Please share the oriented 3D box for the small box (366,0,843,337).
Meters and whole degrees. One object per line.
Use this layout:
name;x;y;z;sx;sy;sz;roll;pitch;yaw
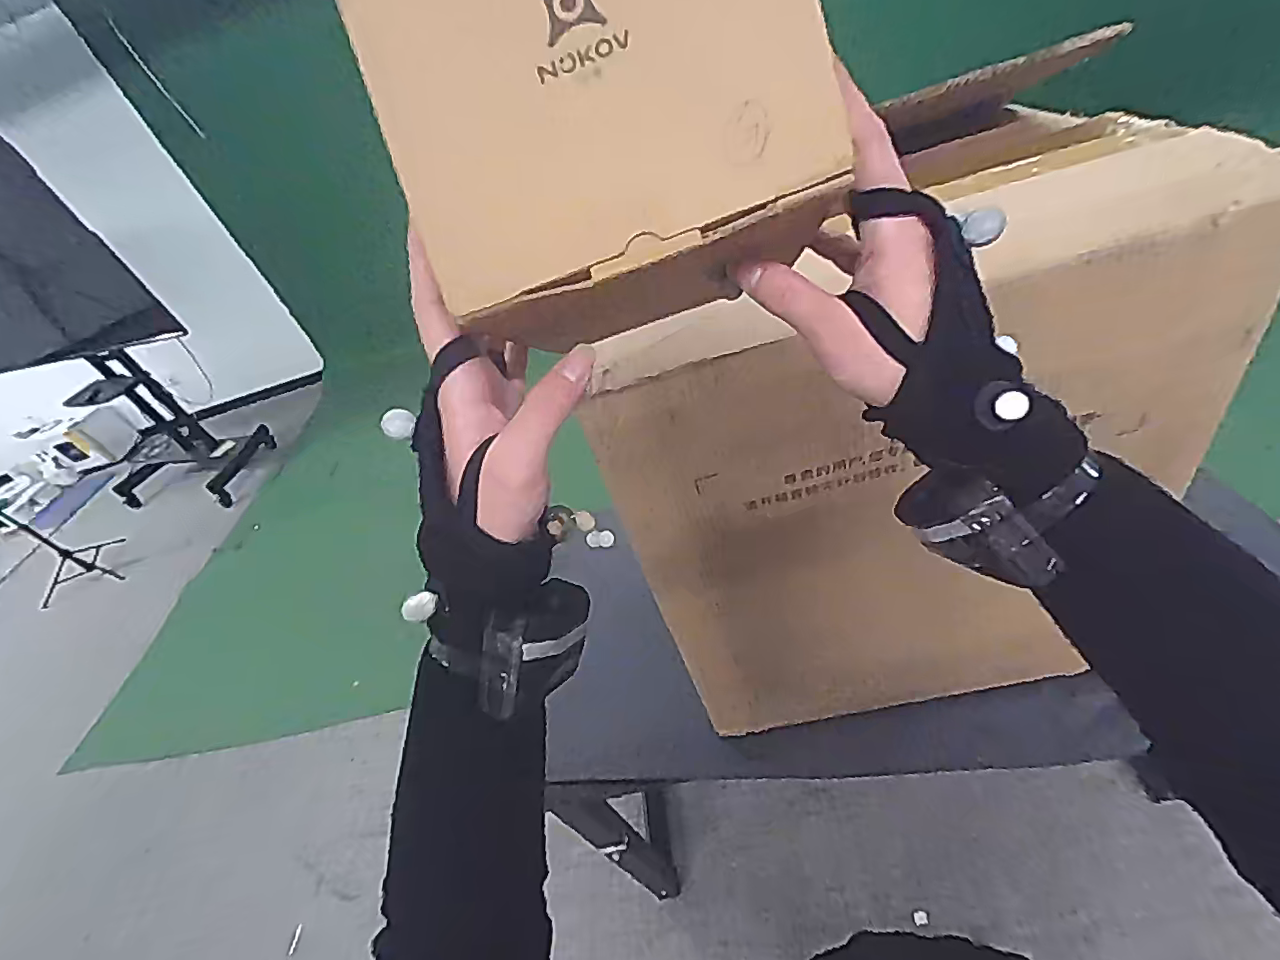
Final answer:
small box;-0.013;-0.187;0.292;0.168;0.179;0.176;-17;4;7
